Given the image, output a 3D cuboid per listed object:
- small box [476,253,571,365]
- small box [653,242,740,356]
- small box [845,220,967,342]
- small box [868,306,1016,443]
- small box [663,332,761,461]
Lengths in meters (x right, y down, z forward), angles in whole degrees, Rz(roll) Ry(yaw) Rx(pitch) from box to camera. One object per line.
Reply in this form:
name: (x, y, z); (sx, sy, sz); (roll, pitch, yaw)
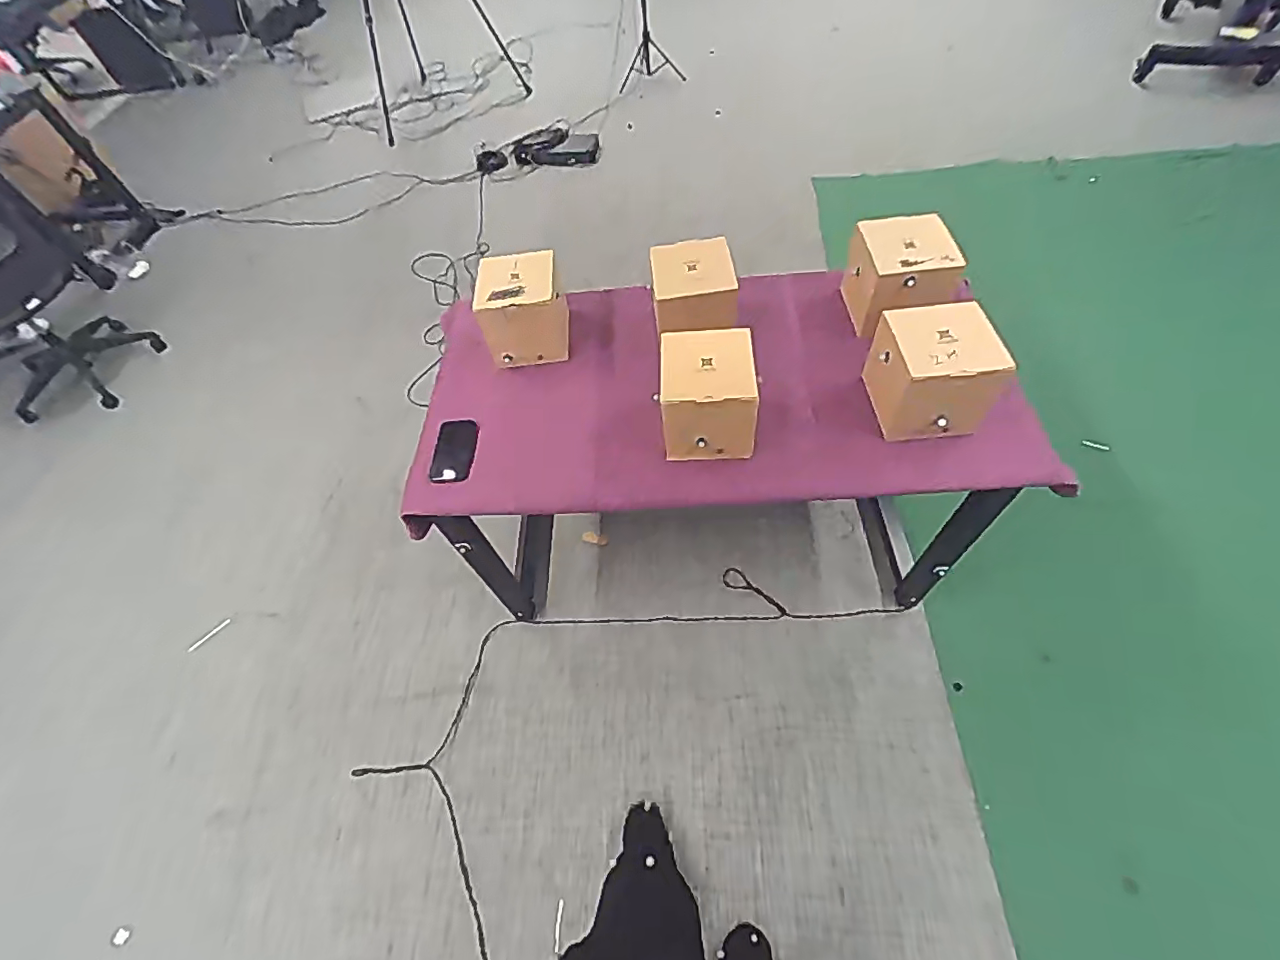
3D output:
small box: (-0.250, -0.373, 1.206); (0.168, 0.176, 0.179); (-6, 55, 2)
small box: (0.119, -0.385, 1.173); (0.168, 0.176, 0.179); (-6, 57, 4)
small box: (0.546, -0.417, 1.142); (0.168, 0.176, 0.179); (-5, 56, 4)
small box: (0.534, -0.190, 0.989); (0.168, 0.176, 0.179); (-4, 55, 5)
small box: (0.130, -0.154, 1.017); (0.168, 0.176, 0.179); (-2, 56, 5)
